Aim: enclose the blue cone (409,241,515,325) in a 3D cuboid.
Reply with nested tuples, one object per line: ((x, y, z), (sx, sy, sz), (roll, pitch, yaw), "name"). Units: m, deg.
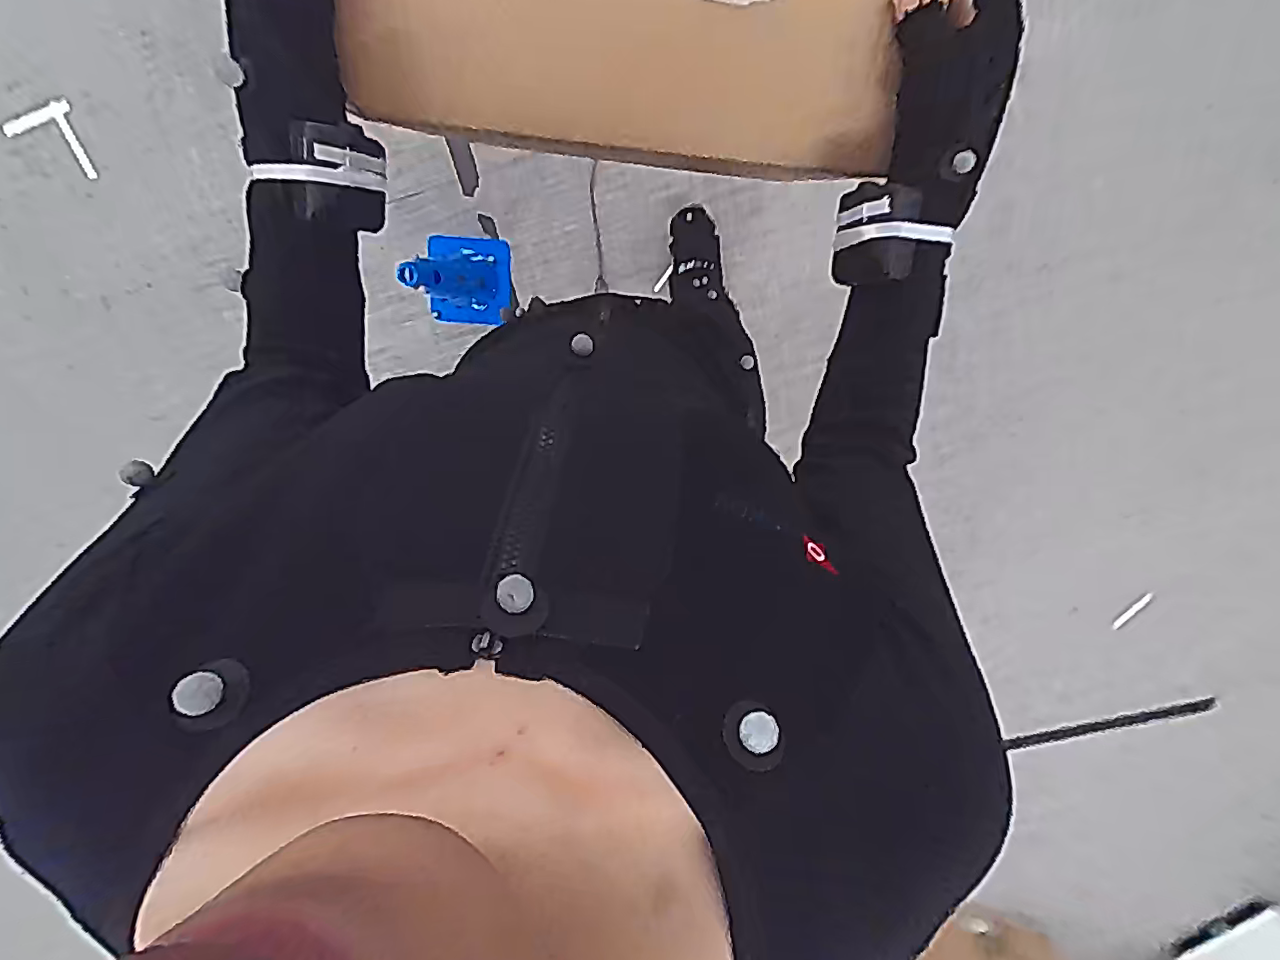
((-0.412, -0.435, 1.189), (0.193, 0.380, 0.192), (6, 109, 0), "blue cone")

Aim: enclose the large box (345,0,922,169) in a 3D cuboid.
((0.000, -0.465, 0.467), (0.408, 0.320, 0.320), (4, 119, -2), "large box")
